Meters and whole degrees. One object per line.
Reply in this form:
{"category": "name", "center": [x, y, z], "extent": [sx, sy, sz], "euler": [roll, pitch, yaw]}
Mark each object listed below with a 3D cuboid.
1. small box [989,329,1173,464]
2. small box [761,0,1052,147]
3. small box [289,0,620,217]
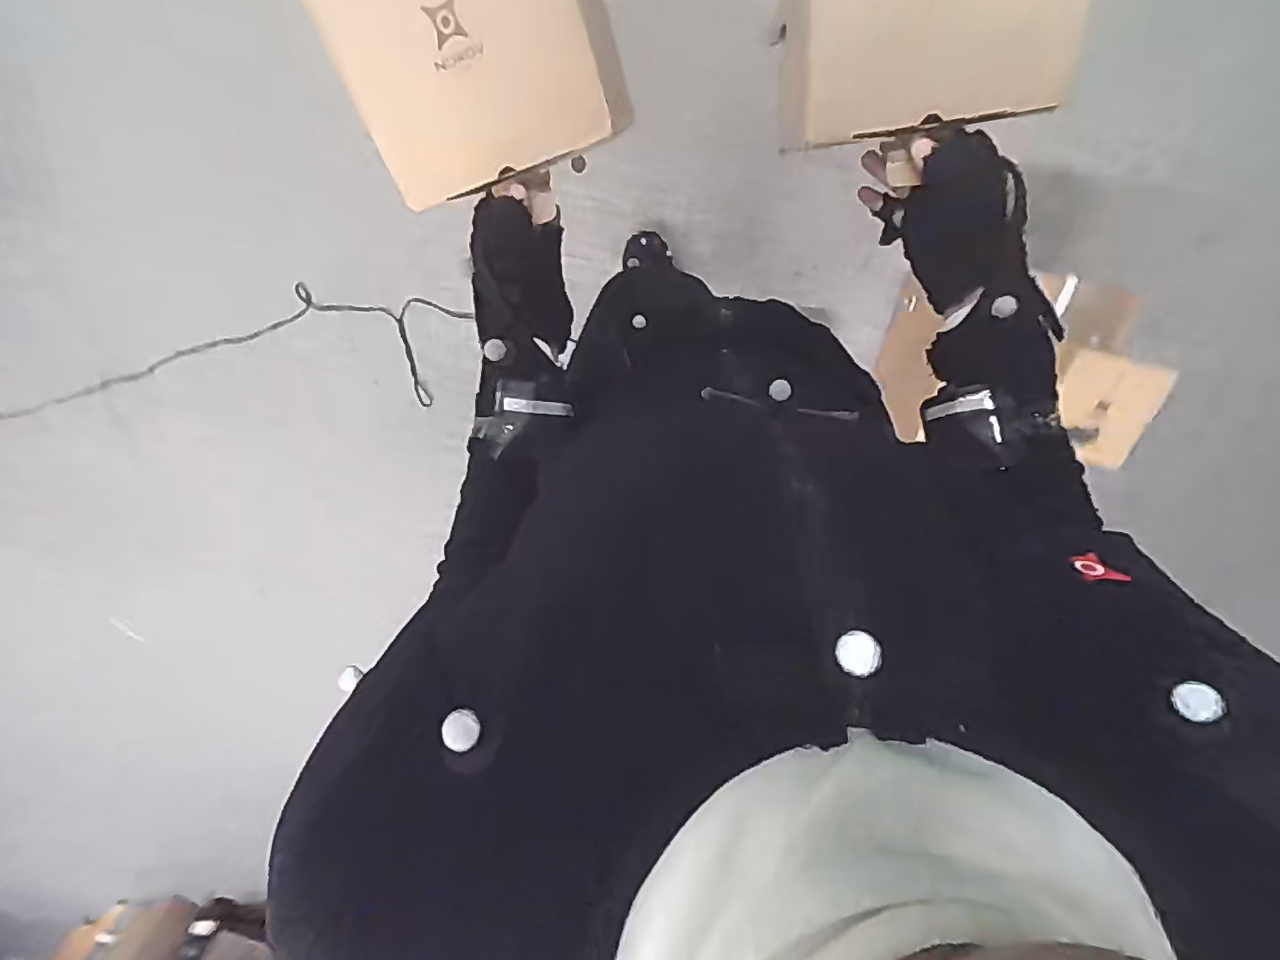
{"category": "small box", "center": [0.766, -0.155, 0.970], "extent": [0.168, 0.176, 0.179], "euler": [12, 118, 3]}
{"category": "small box", "center": [0.181, -0.361, 0.402], "extent": [0.168, 0.176, 0.179], "euler": [-4, 119, 10]}
{"category": "small box", "center": [-0.123, -0.333, 0.413], "extent": [0.168, 0.176, 0.179], "euler": [-14, 123, 15]}
